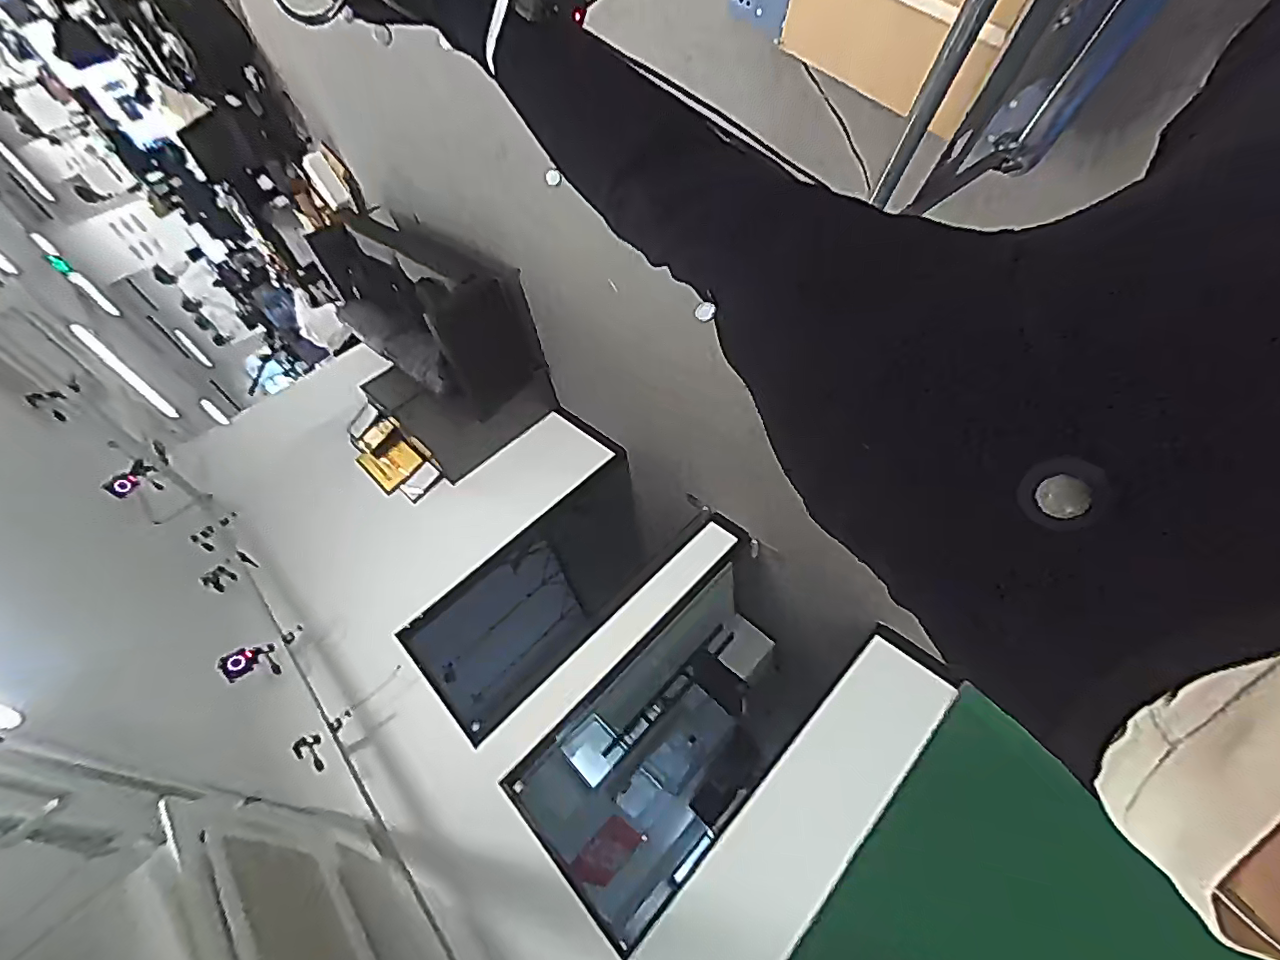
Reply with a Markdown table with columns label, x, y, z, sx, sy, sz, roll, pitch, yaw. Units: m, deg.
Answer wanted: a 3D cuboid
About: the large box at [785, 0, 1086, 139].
| label | x | y | z | sx | sy | sz | roll | pitch | yaw |
| --- | --- | --- | --- | --- | --- | --- | --- | --- | --- |
| large box | 0.539 | -0.888 | 0.937 | 0.408 | 0.320 | 0.320 | 44 | 157 | 17 |
